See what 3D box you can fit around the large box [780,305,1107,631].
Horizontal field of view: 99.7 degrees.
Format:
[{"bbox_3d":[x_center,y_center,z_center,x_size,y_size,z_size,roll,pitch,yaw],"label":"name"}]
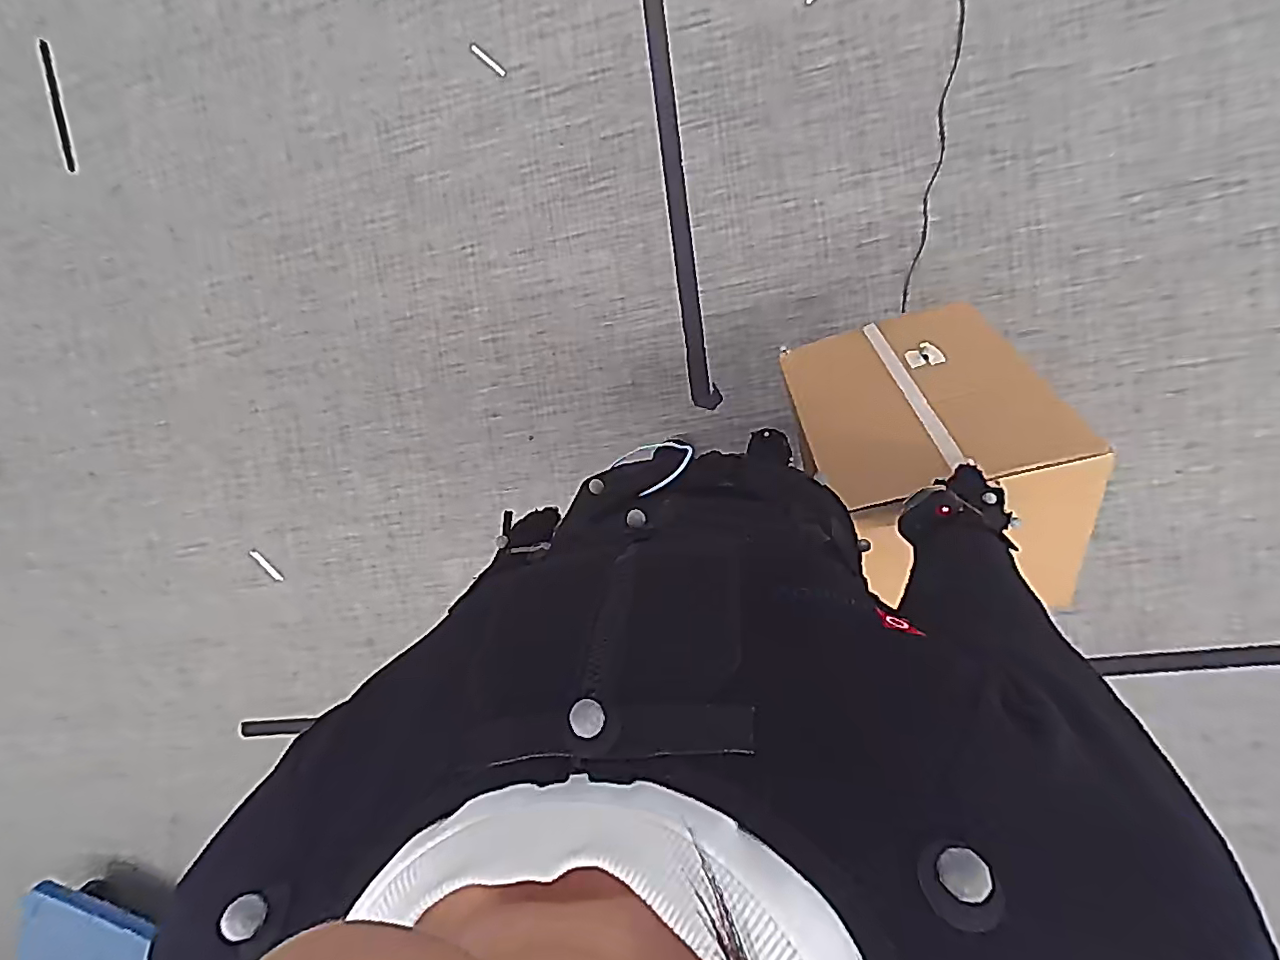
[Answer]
[{"bbox_3d":[0.451,-0.024,0.898,0.320,0.408,0.320,-14,130,12],"label":"large box"}]
